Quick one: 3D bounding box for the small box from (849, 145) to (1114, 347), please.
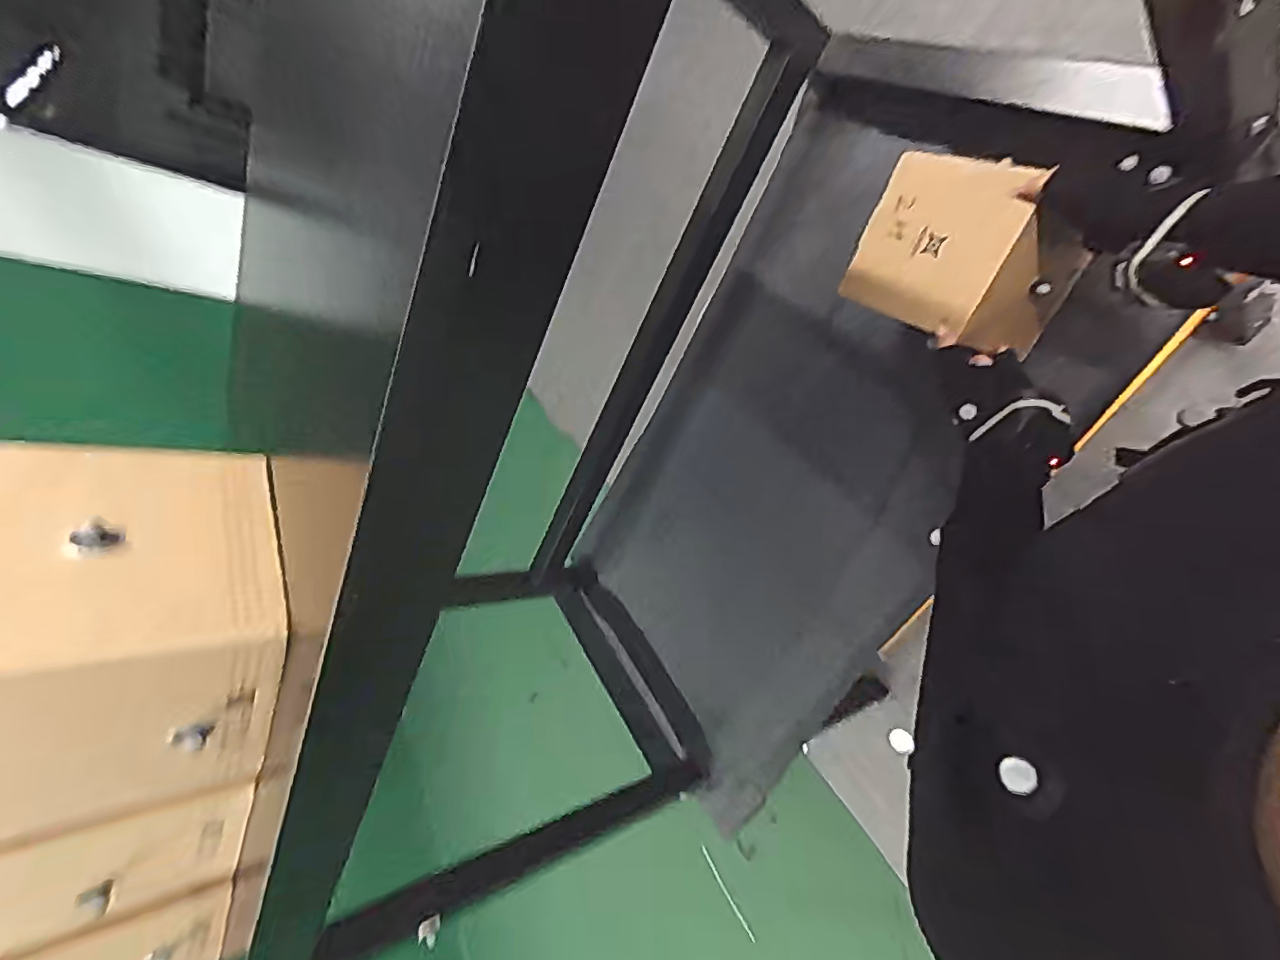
[{"bbox_3d":[0.395,-0.267,0.636,0.179,0.176,0.168,49,128,45],"label":"small box"}]

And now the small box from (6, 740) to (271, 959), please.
[{"bbox_3d":[-0.488,0.390,0.541,0.179,0.176,0.168,48,123,38],"label":"small box"}]
